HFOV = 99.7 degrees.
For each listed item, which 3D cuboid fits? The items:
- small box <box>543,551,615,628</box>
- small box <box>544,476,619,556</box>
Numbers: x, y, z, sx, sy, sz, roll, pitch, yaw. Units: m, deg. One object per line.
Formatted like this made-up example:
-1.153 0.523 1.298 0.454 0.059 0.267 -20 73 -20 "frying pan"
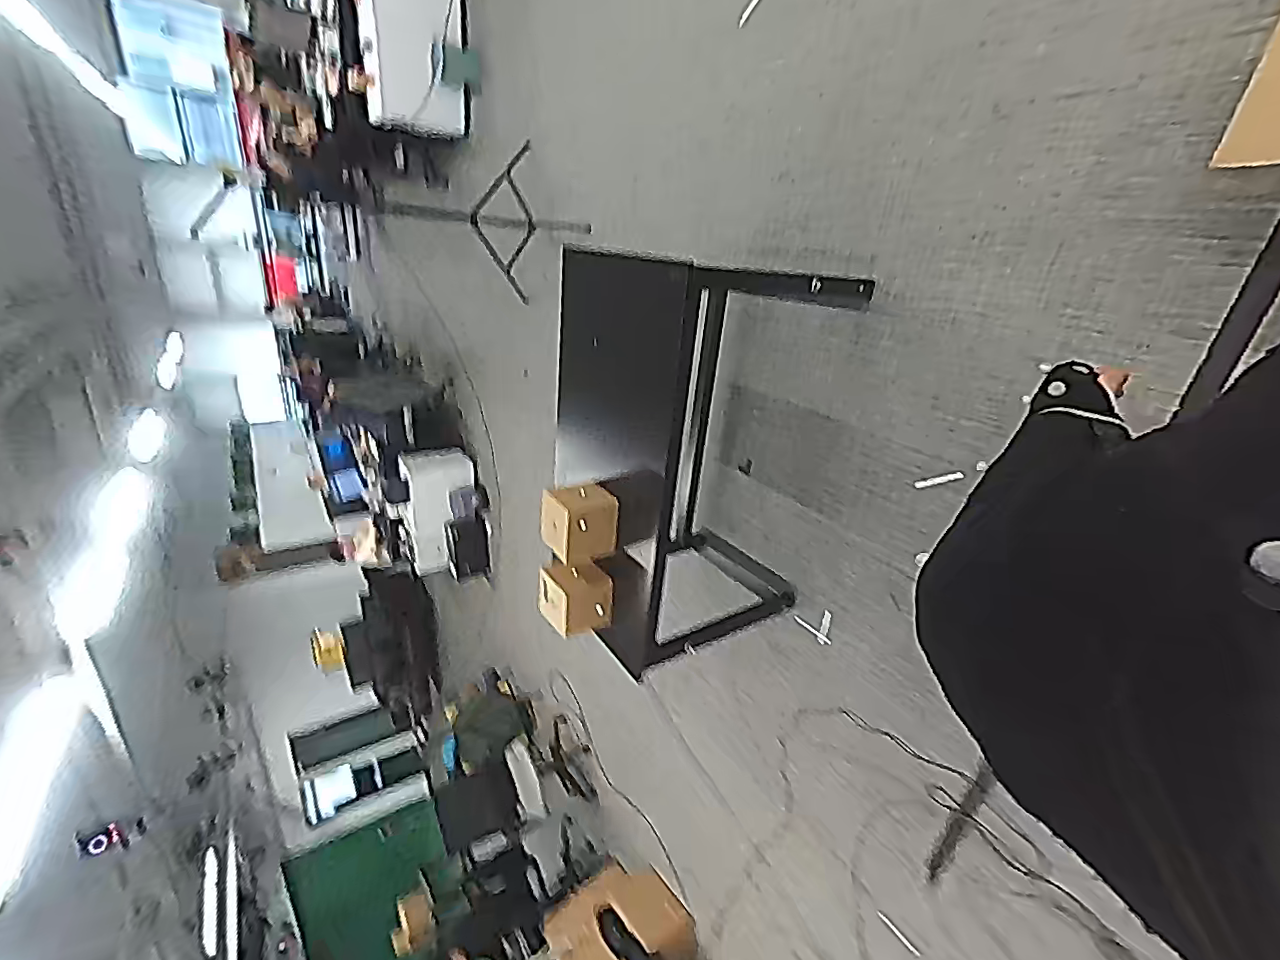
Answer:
-0.200 0.344 1.741 0.179 0.176 0.168 31 125 48 "small box"
-0.176 0.100 1.634 0.168 0.176 0.179 35 126 48 "small box"
